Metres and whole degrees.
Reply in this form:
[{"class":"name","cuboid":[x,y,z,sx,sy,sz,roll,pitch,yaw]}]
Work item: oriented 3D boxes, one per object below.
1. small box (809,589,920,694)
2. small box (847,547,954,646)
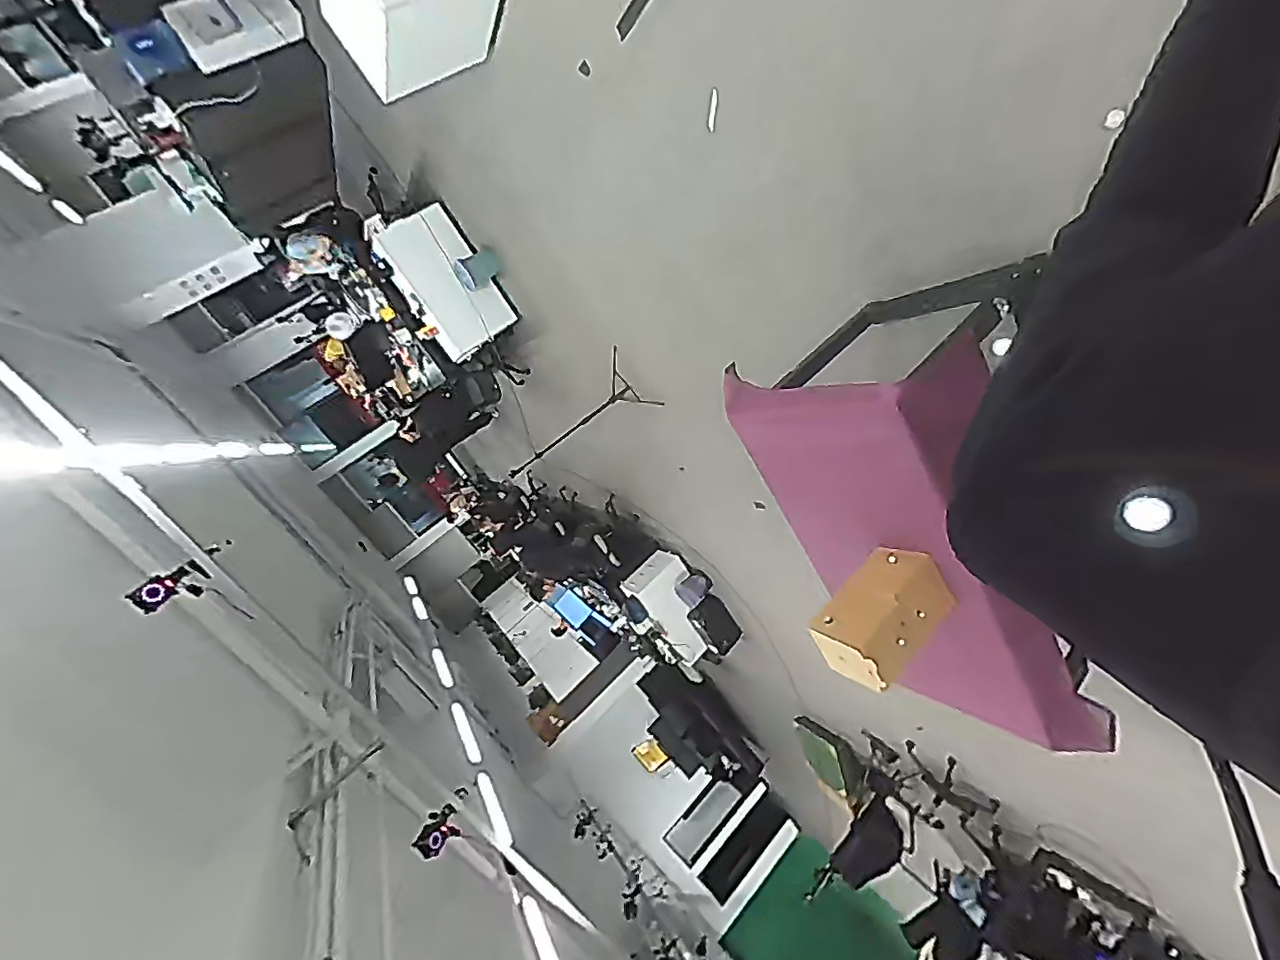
[{"class":"small box","cuboid":[0.585,0.408,1.405,0.168,0.176,0.179,56,160,-21]},{"class":"small box","cuboid":[0.704,0.306,1.455,0.179,0.176,0.168,55,160,-15]}]
